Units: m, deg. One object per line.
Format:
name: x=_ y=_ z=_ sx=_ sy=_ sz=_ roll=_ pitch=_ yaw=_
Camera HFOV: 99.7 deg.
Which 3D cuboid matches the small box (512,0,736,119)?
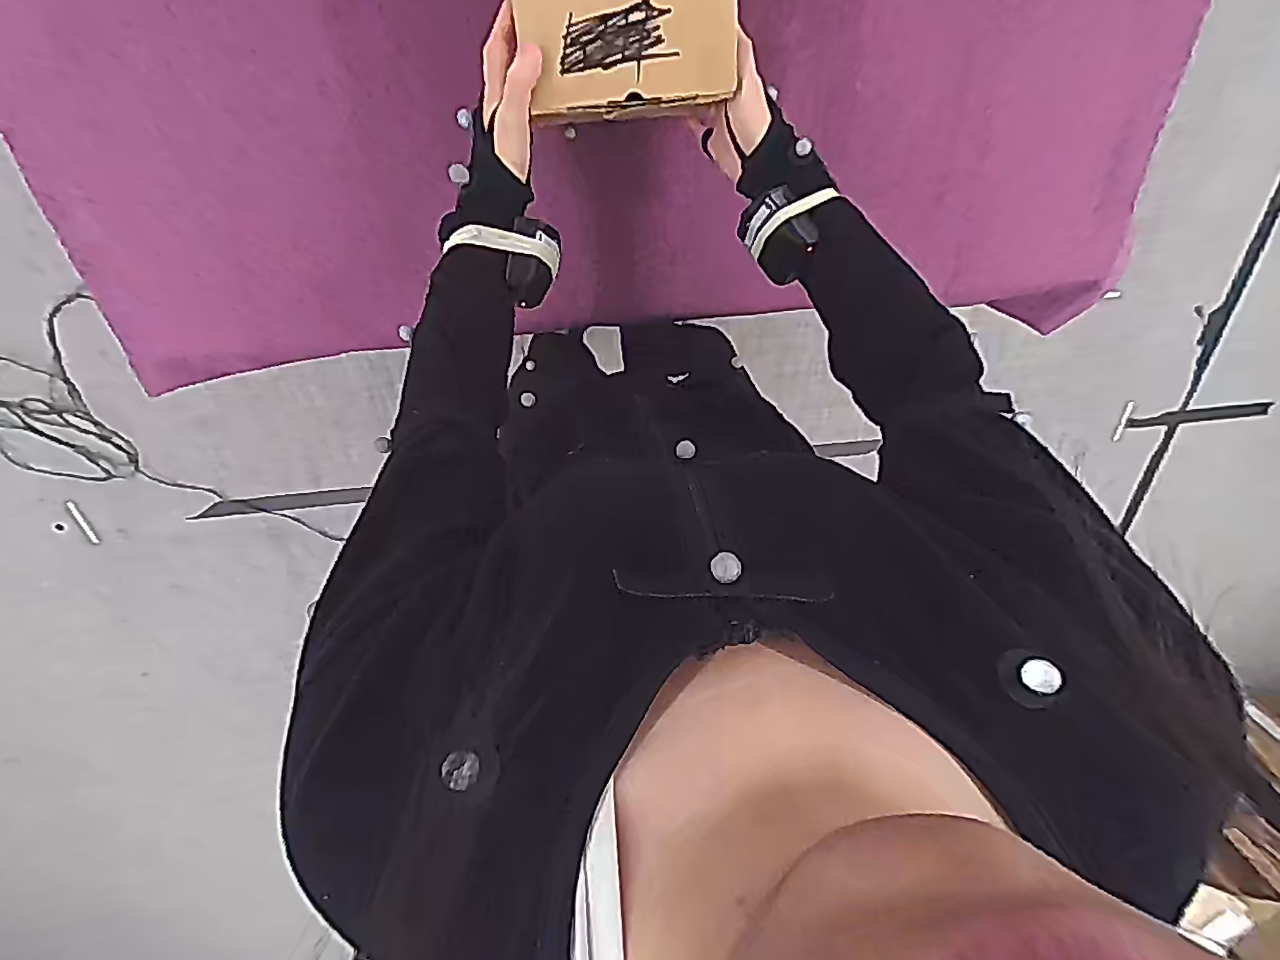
small box: x=-0.020 y=-0.410 z=0.448 sx=0.168 sy=0.176 sz=0.179 roll=-7 pitch=120 yaw=-4
